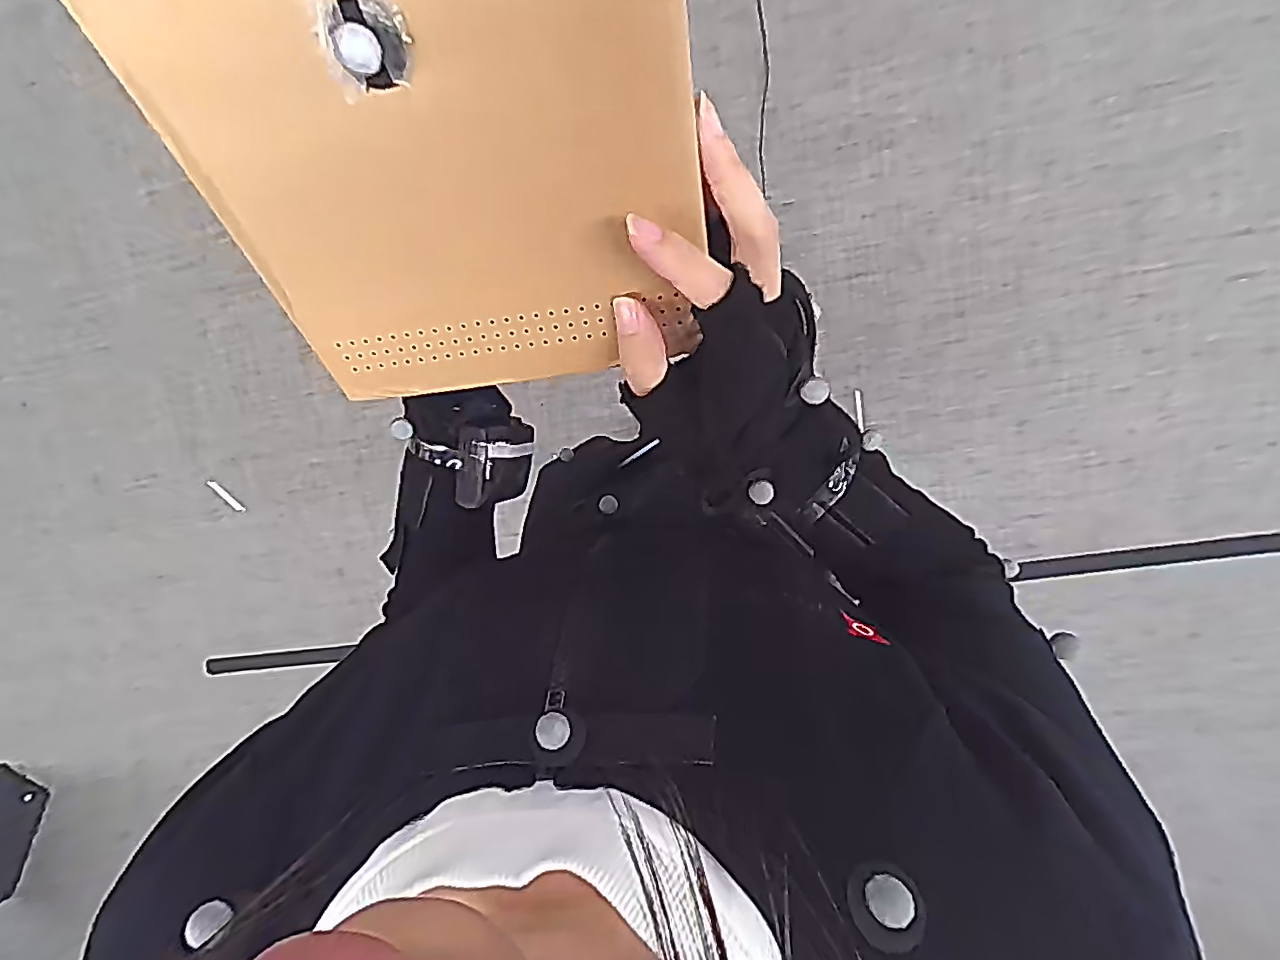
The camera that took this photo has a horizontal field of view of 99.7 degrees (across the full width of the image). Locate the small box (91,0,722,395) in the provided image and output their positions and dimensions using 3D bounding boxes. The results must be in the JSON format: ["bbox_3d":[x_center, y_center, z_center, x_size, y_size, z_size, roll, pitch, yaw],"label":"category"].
[{"bbox_3d":[-0.060,-0.154,0.246,0.179,0.168,0.176,-5,138,9],"label":"small box"}]
